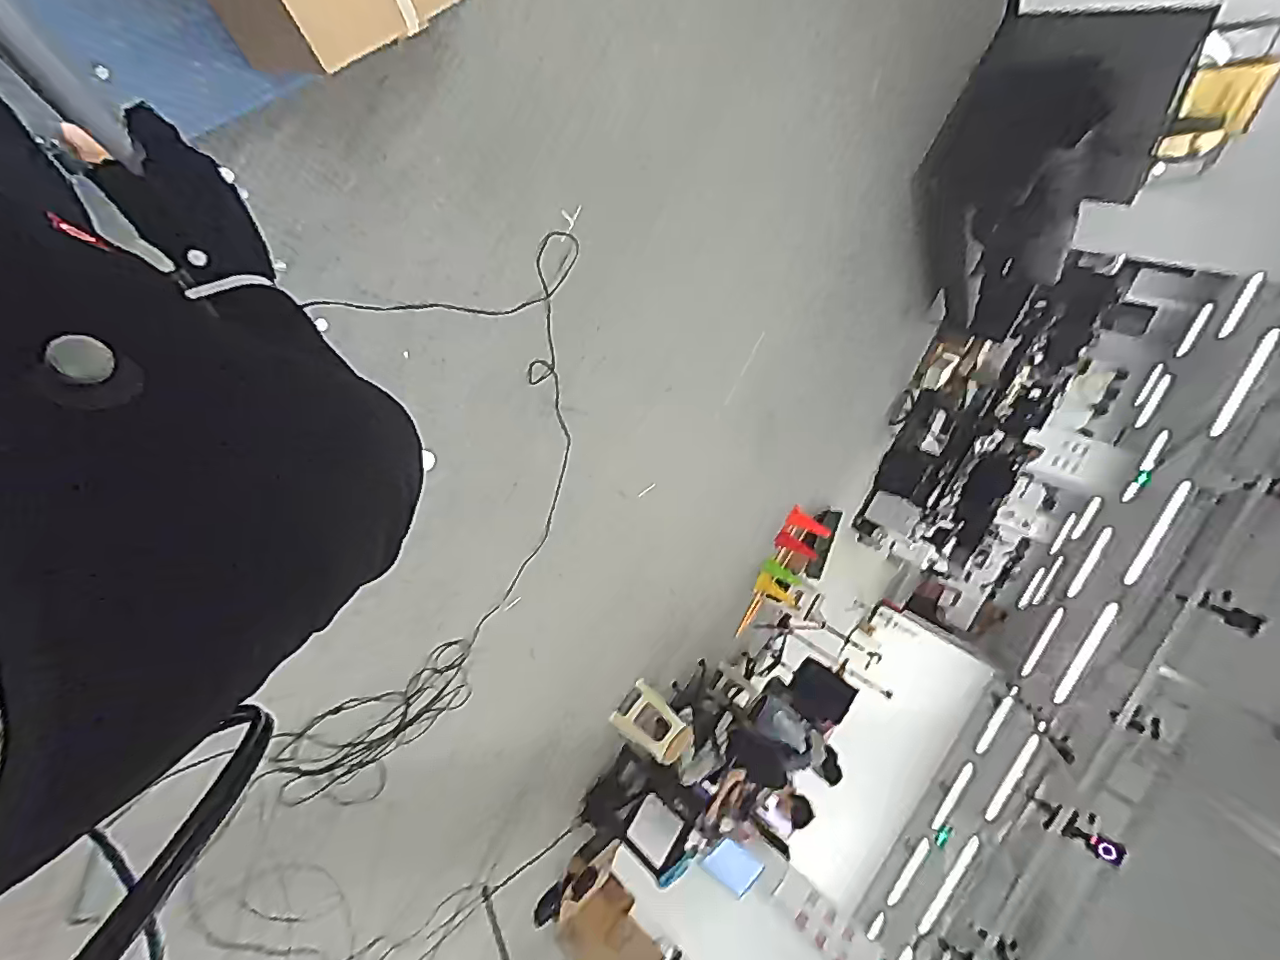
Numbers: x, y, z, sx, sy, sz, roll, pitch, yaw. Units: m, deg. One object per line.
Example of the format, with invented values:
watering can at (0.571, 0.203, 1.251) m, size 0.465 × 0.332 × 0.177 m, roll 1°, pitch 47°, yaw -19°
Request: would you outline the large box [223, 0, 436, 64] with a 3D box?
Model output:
large box at (-0.503, -0.879, 0.747) m, size 0.320 × 0.320 × 0.408 m, roll -48°, pitch 145°, yaw -17°
